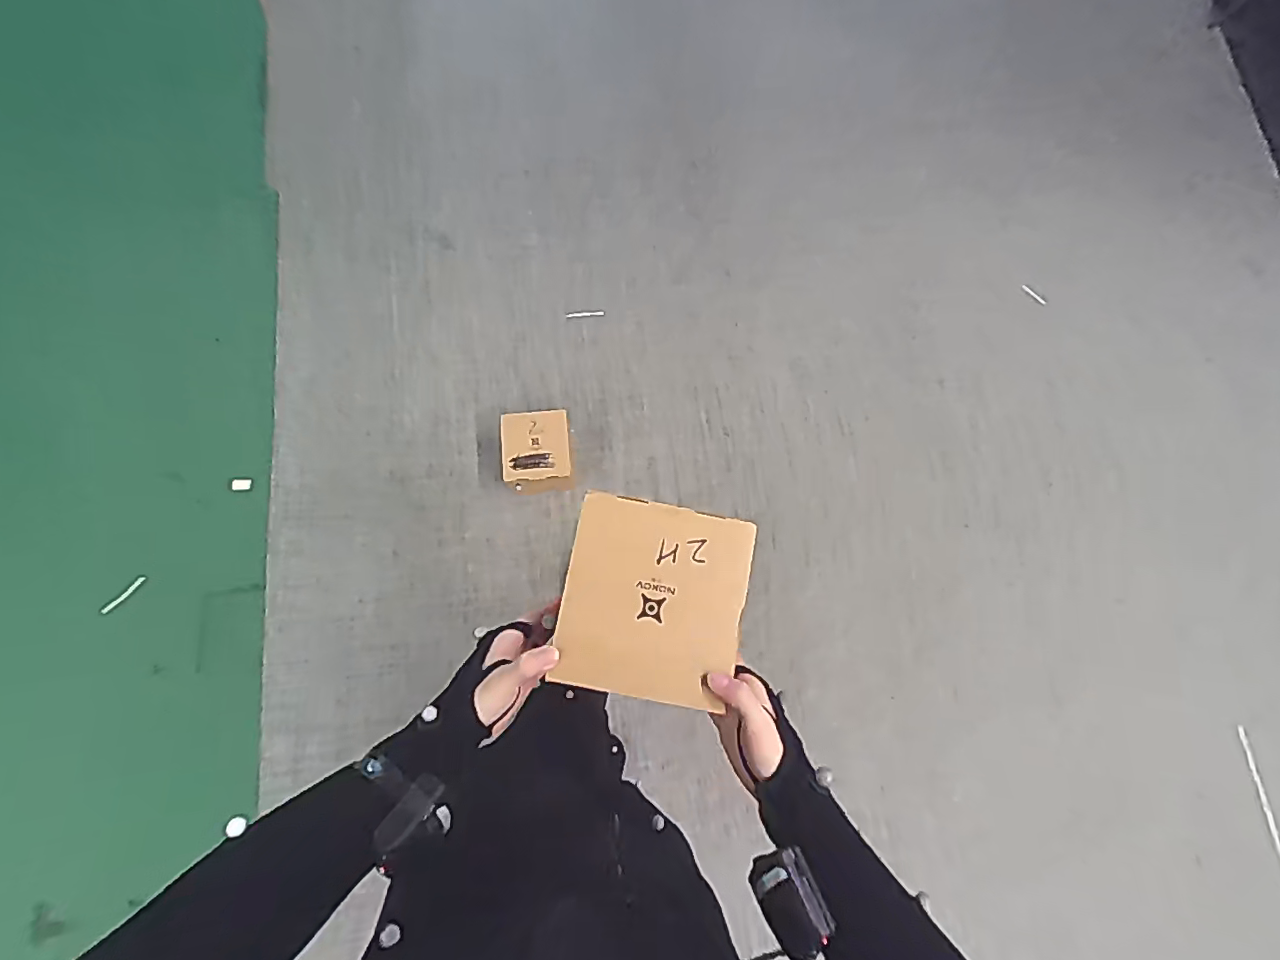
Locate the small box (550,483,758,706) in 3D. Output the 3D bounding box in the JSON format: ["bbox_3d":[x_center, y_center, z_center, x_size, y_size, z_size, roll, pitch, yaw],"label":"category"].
[{"bbox_3d":[0.012,0.116,0.573,0.168,0.176,0.179,12,79,-1],"label":"small box"}]
